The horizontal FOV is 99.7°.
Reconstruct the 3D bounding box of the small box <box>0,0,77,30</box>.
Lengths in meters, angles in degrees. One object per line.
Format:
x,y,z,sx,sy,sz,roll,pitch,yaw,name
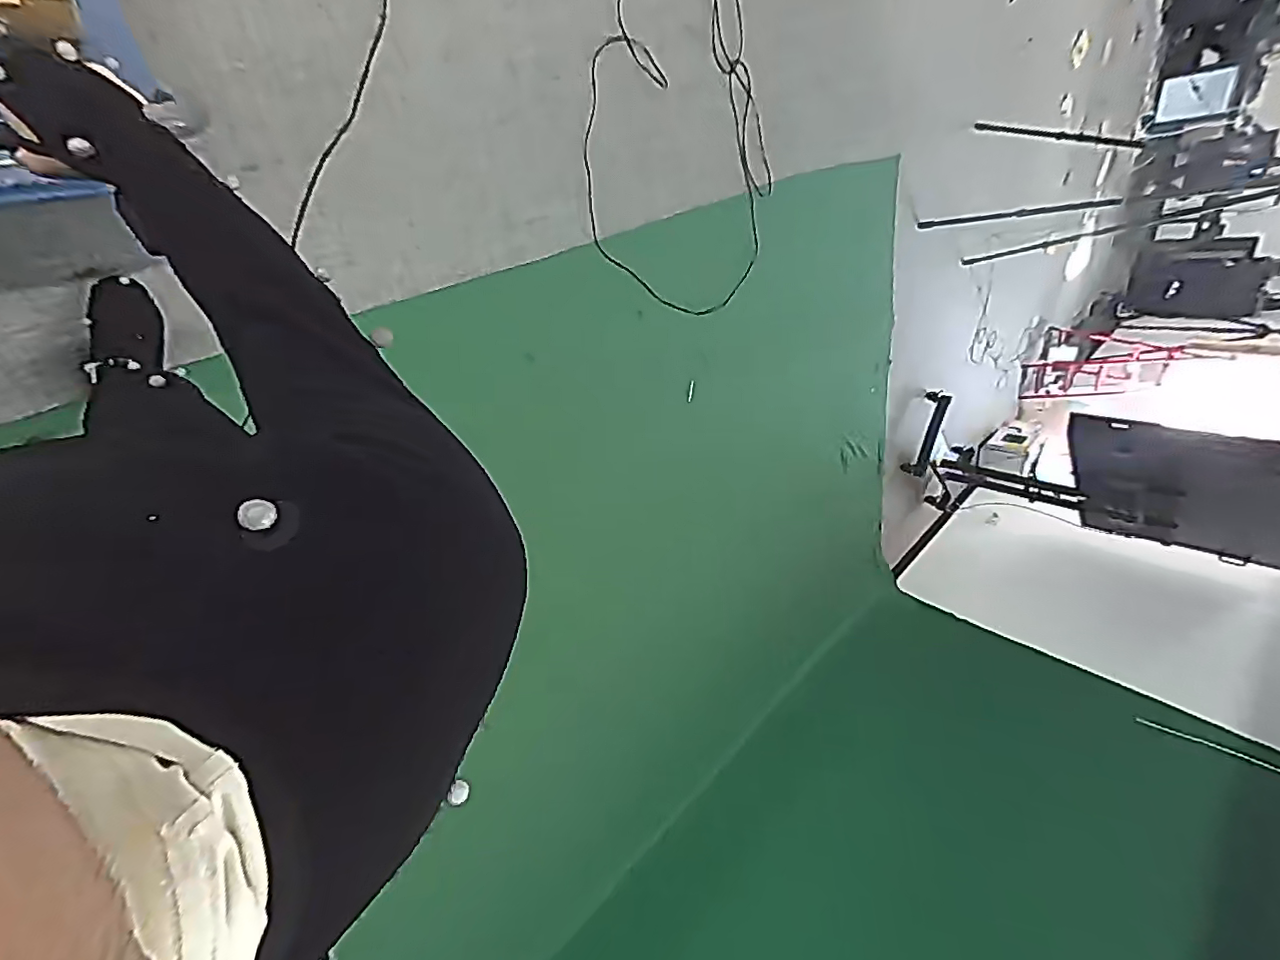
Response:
-0.933,-0.758,0.743,0.168,0.176,0.179,-29,124,-32,small box
